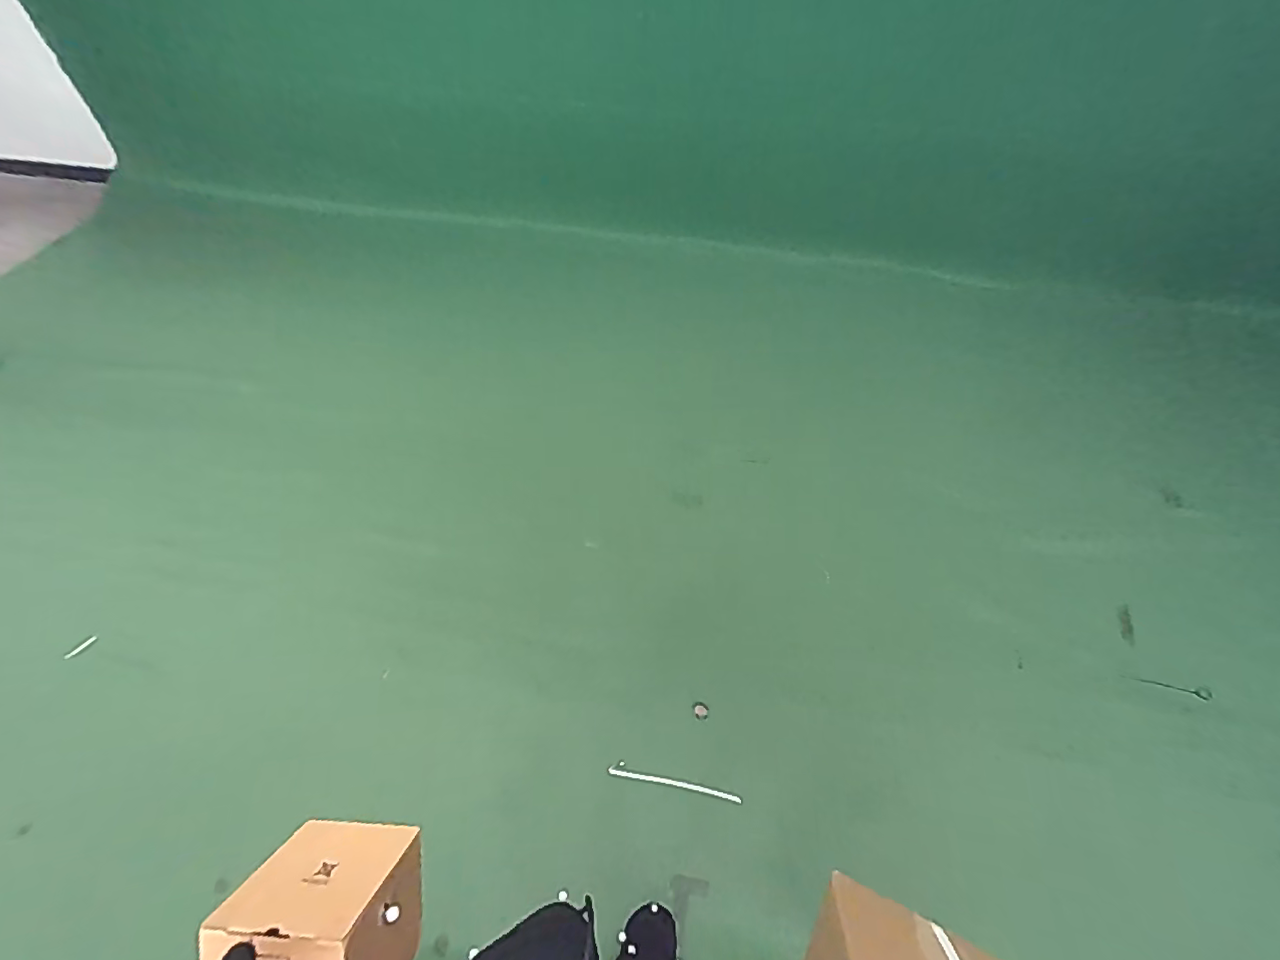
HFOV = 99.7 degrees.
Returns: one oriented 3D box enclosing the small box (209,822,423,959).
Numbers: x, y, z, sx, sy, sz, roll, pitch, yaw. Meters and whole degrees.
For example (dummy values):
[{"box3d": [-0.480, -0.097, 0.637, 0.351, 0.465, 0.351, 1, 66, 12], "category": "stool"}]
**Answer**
[{"box3d": [-0.389, 0.569, 0.672, 0.168, 0.179, 0.176, 1, 94, 5], "category": "small box"}]
